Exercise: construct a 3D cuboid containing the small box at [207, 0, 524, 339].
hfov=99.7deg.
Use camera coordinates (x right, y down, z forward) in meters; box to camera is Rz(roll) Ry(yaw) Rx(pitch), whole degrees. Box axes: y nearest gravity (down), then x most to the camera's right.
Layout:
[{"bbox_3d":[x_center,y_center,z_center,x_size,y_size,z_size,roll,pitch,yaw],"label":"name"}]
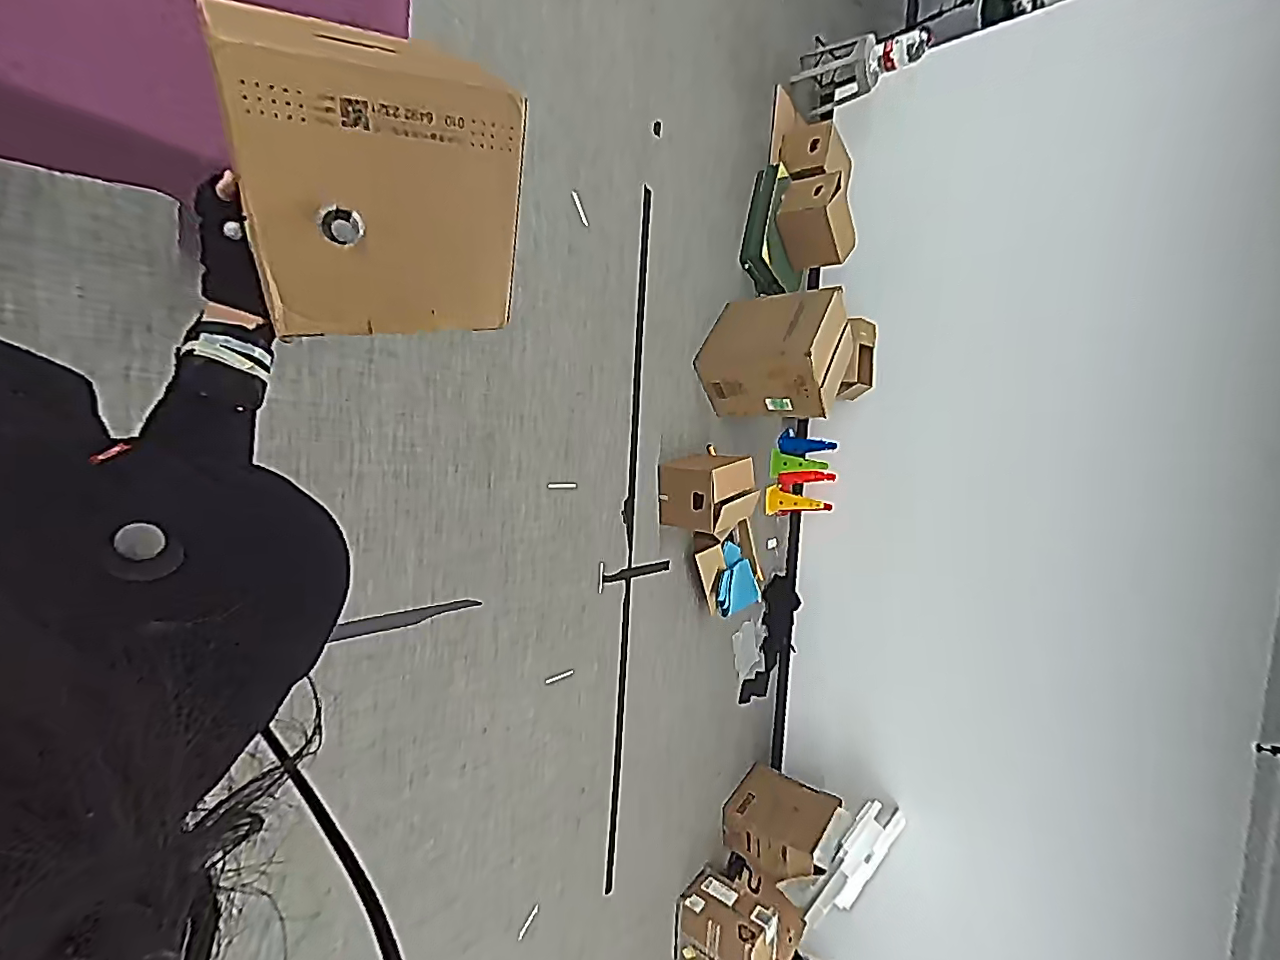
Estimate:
[{"bbox_3d":[-0.196,-0.223,0.398,0.168,0.179,0.176,-12,137,-34],"label":"small box"}]
